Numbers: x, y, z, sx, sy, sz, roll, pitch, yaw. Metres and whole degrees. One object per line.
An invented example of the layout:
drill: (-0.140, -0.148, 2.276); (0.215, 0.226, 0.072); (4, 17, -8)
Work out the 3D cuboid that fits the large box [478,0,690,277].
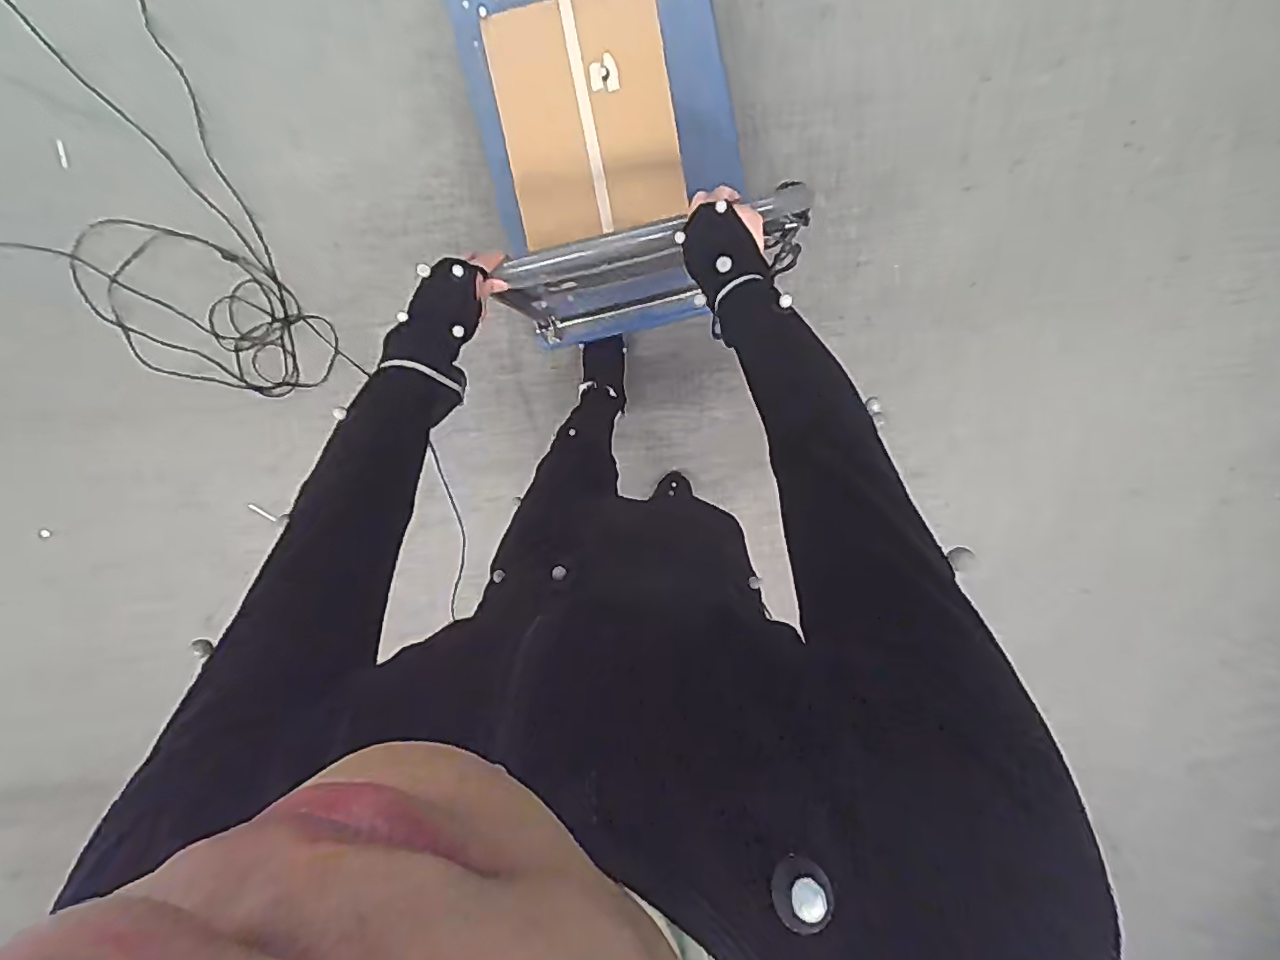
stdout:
large box: (-0.087, -0.675, 1.109); (0.320, 0.320, 0.408); (-10, 101, 4)
